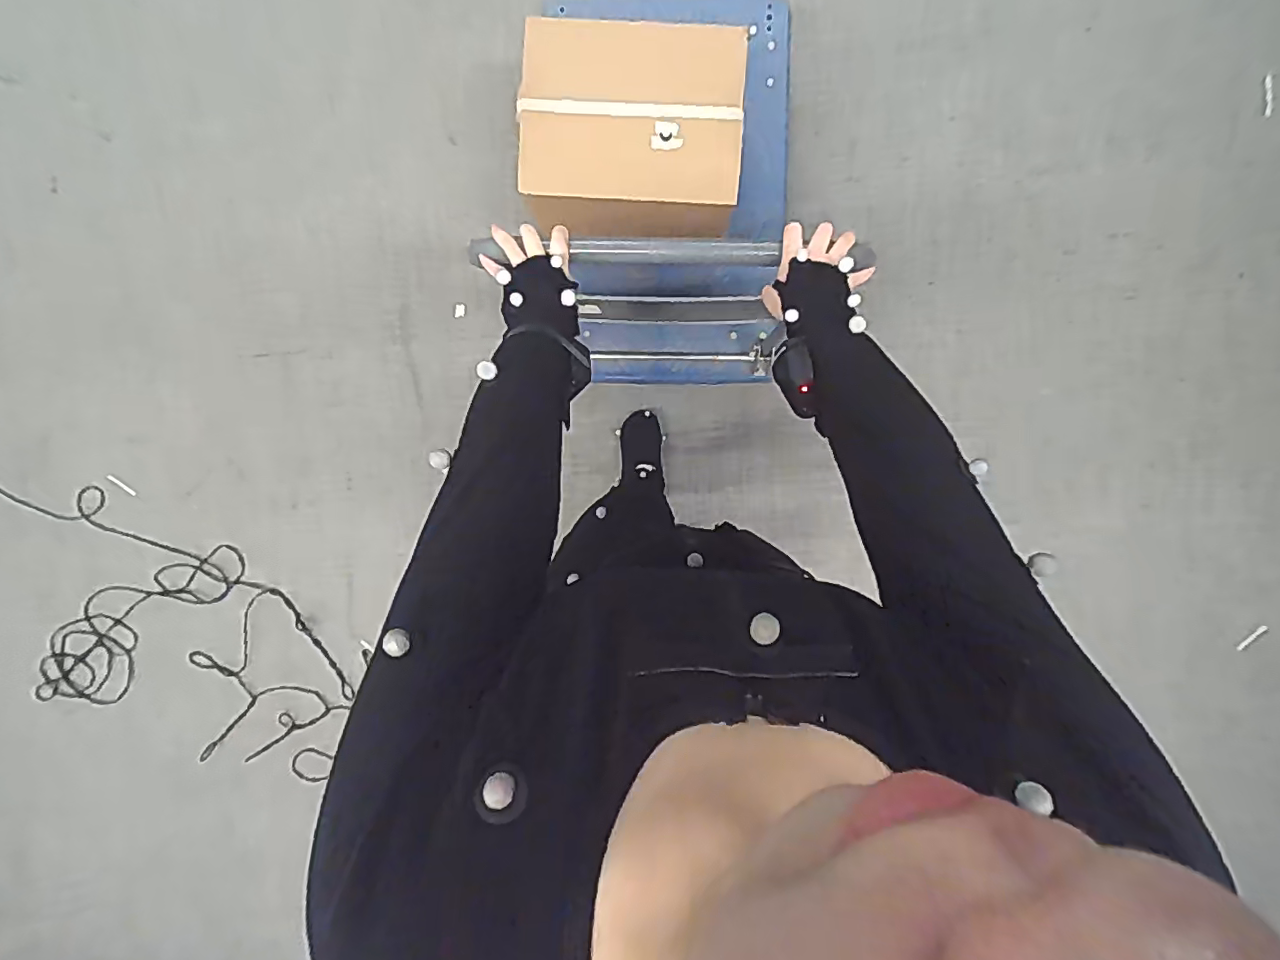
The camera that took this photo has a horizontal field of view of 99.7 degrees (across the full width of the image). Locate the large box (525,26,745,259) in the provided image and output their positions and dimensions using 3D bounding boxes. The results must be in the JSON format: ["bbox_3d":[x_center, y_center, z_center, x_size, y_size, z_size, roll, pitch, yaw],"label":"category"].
[{"bbox_3d":[-0.011,-0.683,1.148,0.408,0.320,0.320,3,93,1],"label":"large box"}]
